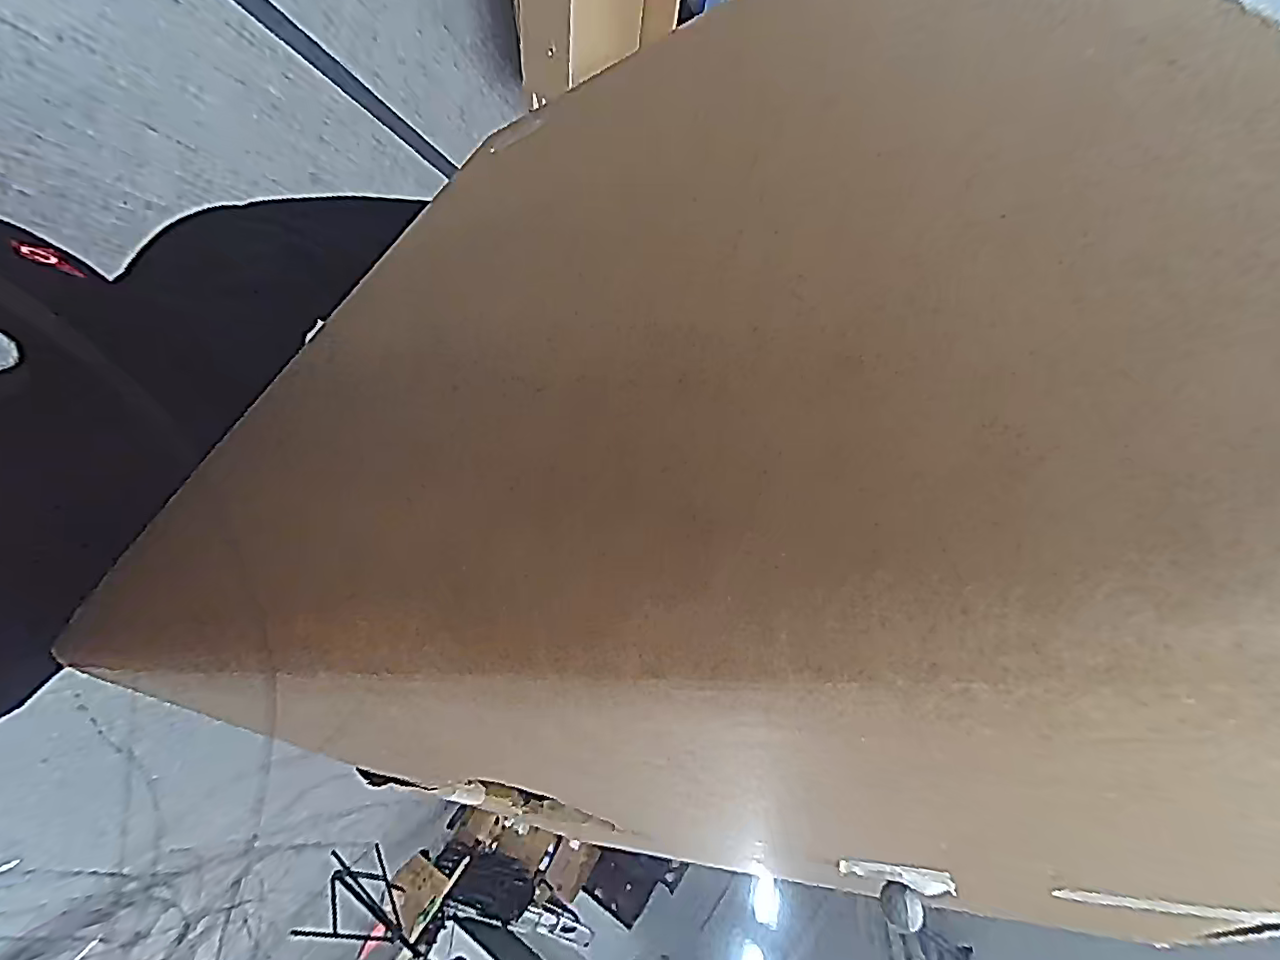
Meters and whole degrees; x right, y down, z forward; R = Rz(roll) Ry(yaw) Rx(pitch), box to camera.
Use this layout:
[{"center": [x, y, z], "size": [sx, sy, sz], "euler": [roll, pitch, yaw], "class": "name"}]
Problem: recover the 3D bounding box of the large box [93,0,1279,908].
[{"center": [0.055, -0.039, 0.323], "size": [0.320, 0.320, 0.408], "euler": [56, 36, -42], "class": "large box"}]
